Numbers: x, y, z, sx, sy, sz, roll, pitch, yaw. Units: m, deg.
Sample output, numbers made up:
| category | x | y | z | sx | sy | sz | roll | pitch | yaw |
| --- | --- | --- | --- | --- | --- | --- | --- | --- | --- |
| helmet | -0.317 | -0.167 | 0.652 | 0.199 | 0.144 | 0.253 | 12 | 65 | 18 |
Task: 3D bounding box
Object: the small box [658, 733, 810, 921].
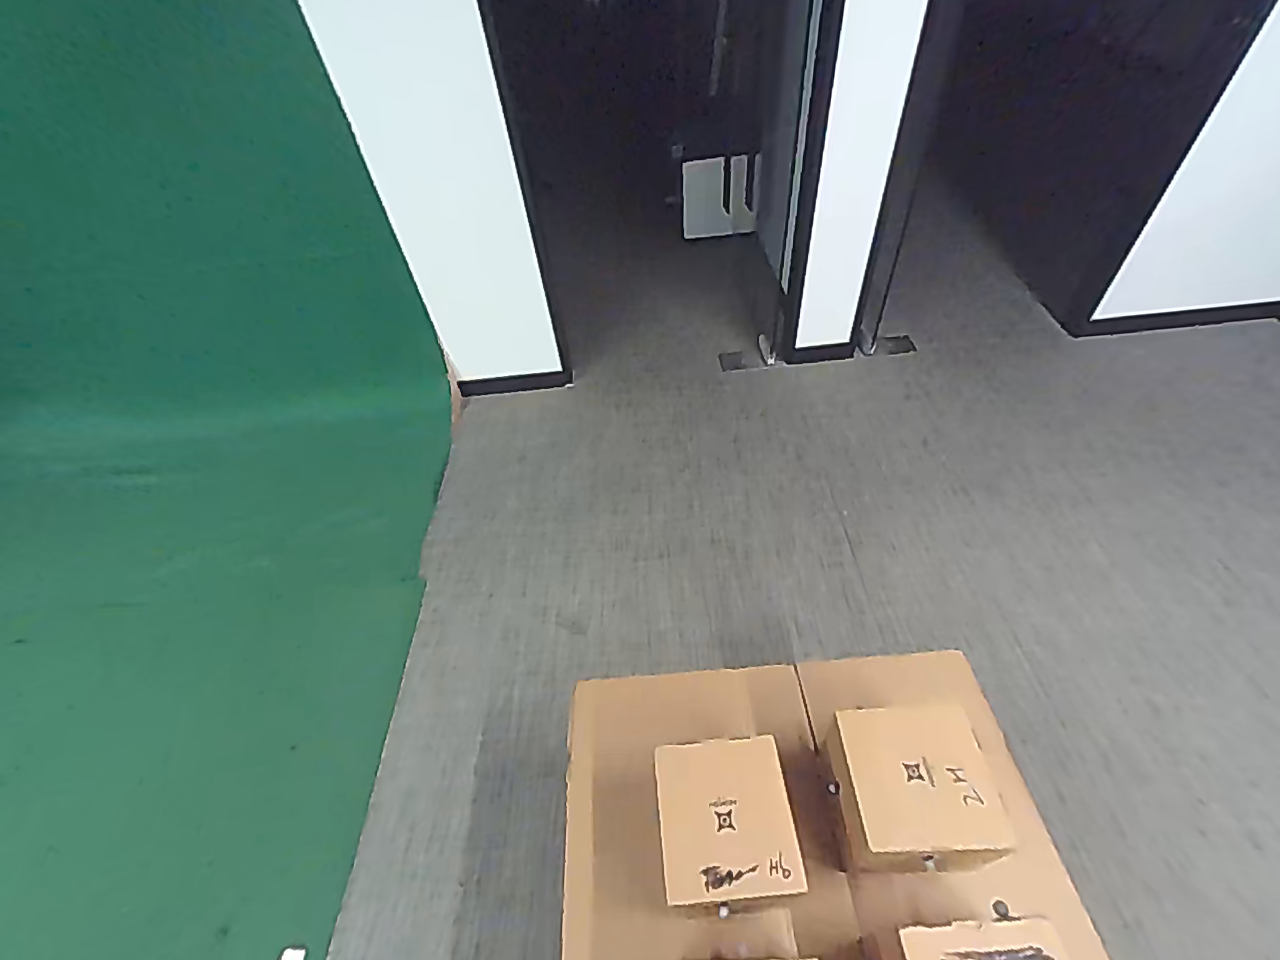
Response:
| category | x | y | z | sx | sy | sz | roll | pitch | yaw |
| --- | --- | --- | --- | --- | --- | --- | --- | --- | --- |
| small box | 0.117 | 0.469 | 0.730 | 0.168 | 0.176 | 0.179 | -8 | 46 | 2 |
